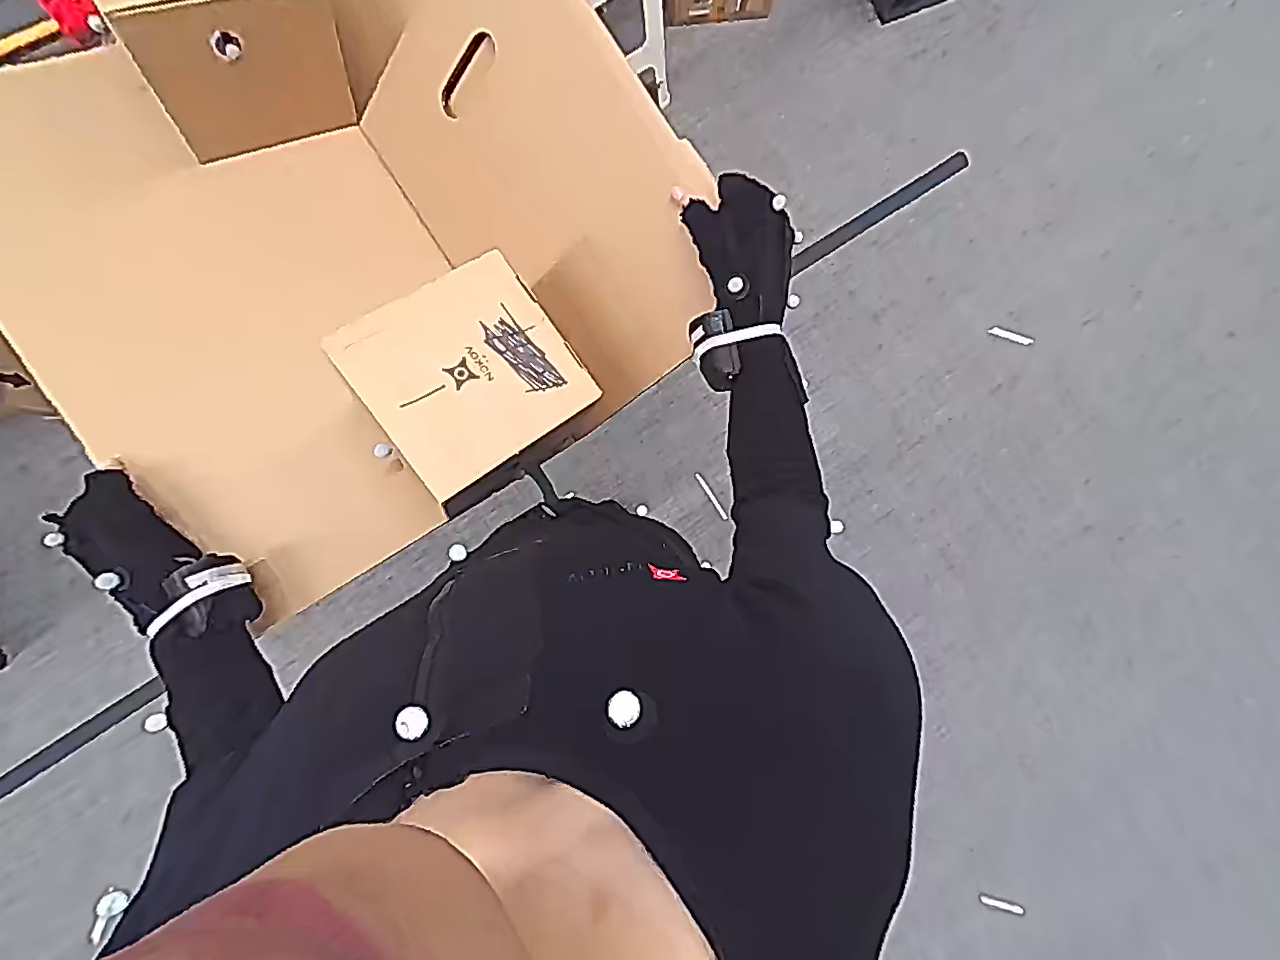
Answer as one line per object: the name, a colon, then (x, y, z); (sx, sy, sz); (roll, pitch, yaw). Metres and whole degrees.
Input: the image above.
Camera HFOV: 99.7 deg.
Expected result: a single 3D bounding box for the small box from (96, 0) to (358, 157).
small box: (-0.410, -0.457, 0.529); (0.179, 0.176, 0.168); (-30, 91, -21)
